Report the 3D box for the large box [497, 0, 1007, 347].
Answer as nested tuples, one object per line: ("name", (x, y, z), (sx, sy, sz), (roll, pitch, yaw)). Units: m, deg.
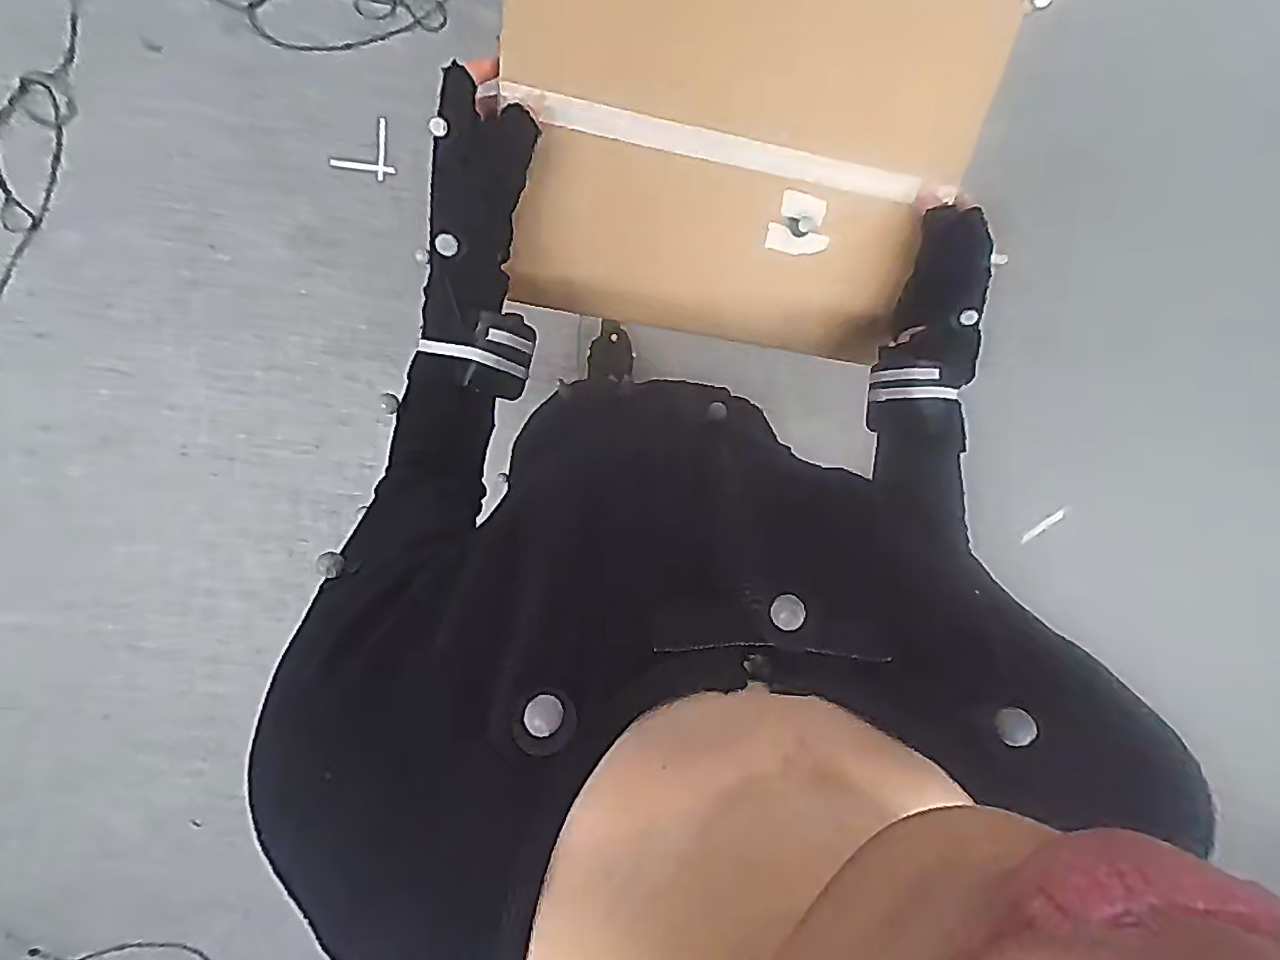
("large box", (0.068, -0.359, 0.600), (0.408, 0.320, 0.320), (6, 117, -10))
